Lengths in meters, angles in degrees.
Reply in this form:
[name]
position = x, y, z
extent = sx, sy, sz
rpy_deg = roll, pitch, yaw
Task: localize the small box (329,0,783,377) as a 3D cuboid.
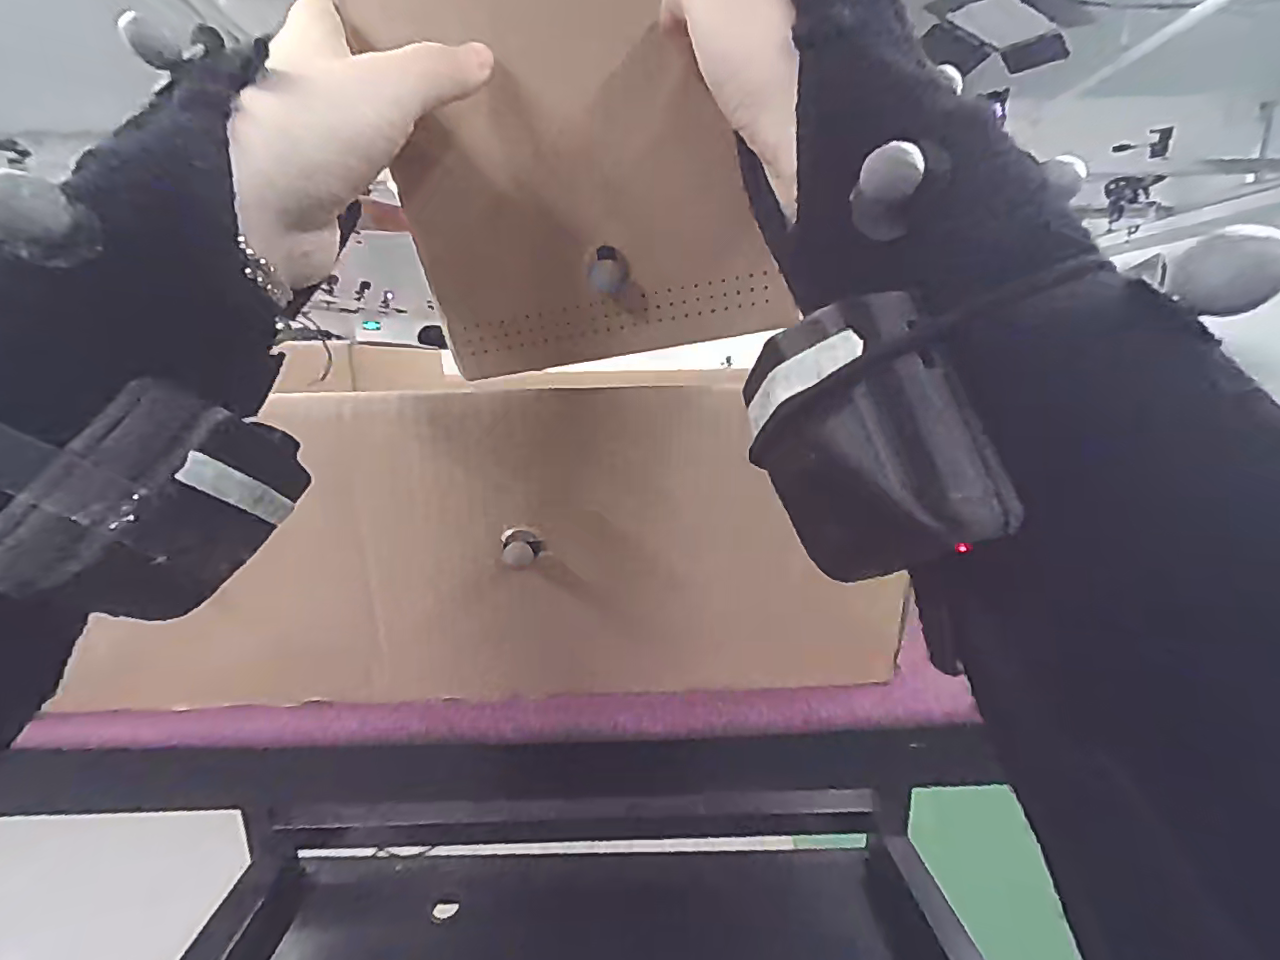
[small box]
position = -0.020, -0.169, 0.304
extent = 0.179, 0.176, 0.168
rpy_deg = -8, 25, 8
